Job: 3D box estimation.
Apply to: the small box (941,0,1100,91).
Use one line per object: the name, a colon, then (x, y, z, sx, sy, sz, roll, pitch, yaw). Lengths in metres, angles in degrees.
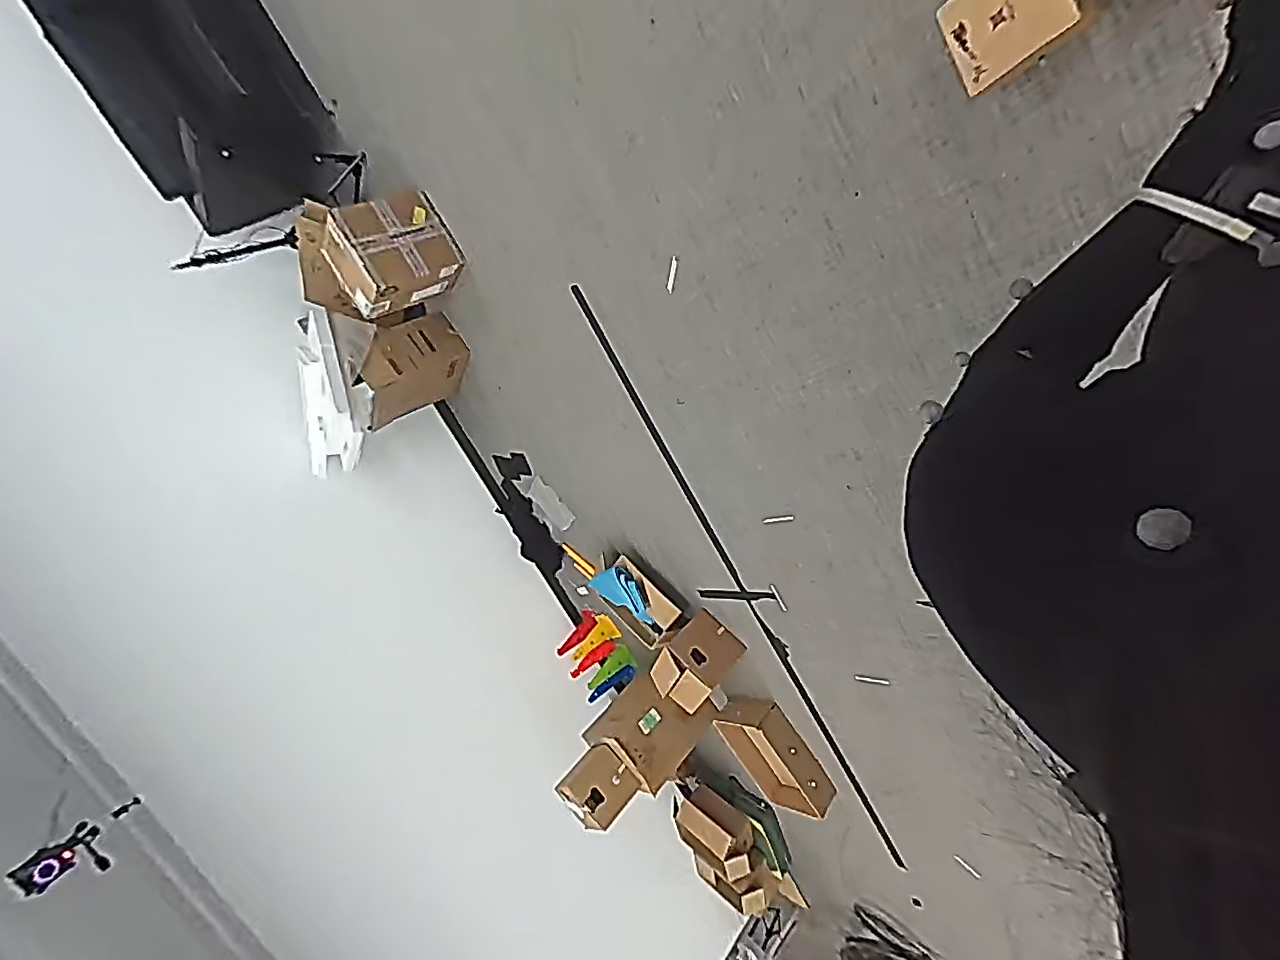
small box: (0.681, -0.842, 0.960, 0.179, 0.176, 0.168, -18, 105, 55)
